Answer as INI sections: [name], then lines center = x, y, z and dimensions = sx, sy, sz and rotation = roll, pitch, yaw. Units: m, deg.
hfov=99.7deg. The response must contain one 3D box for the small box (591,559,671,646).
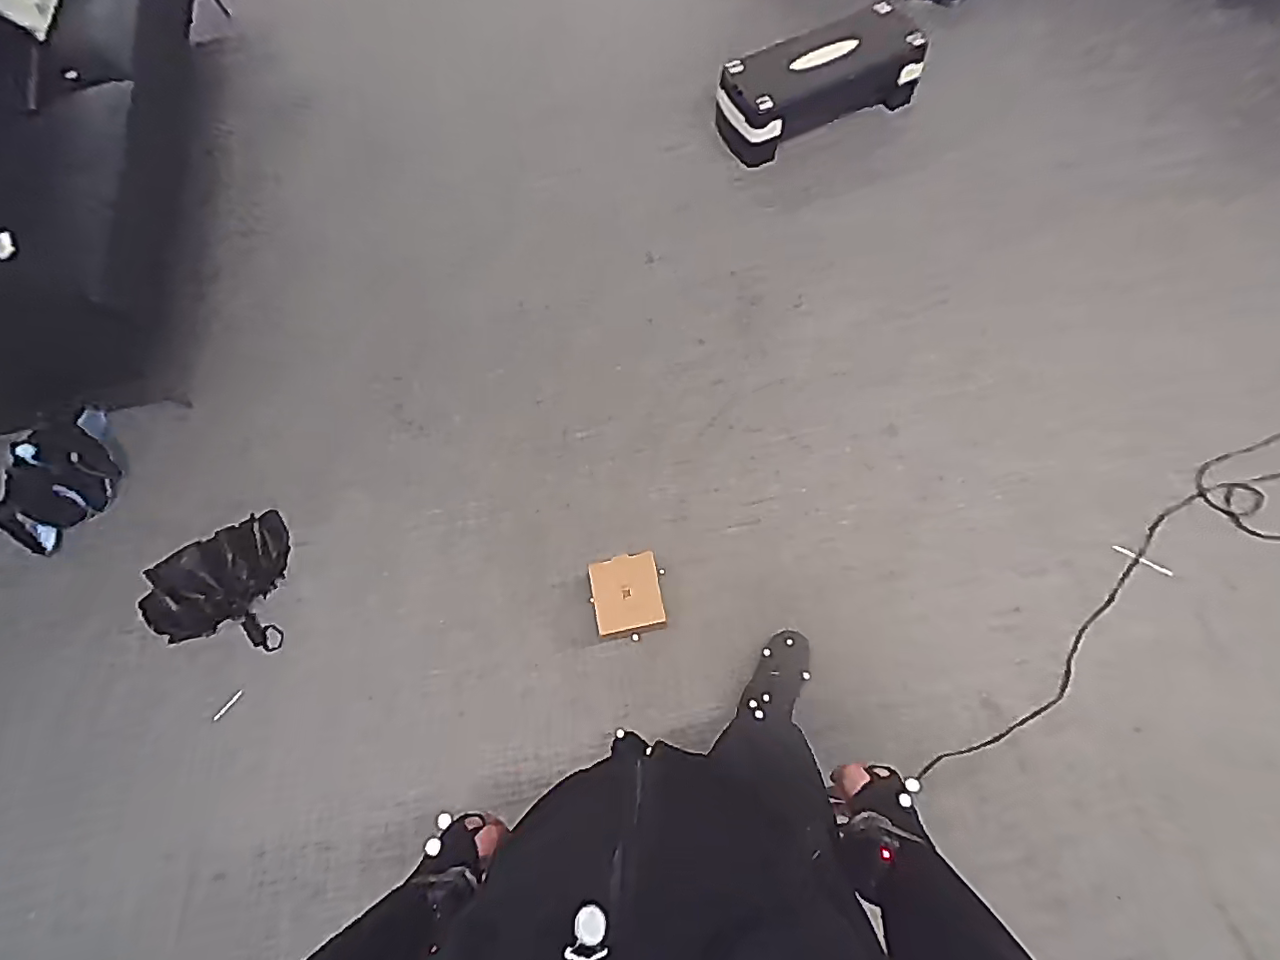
[small box]
center = -0.021, 0.317, 1.376
dimensions = 0.168, 0.176, 0.179
rotation = -13, 70, 2
